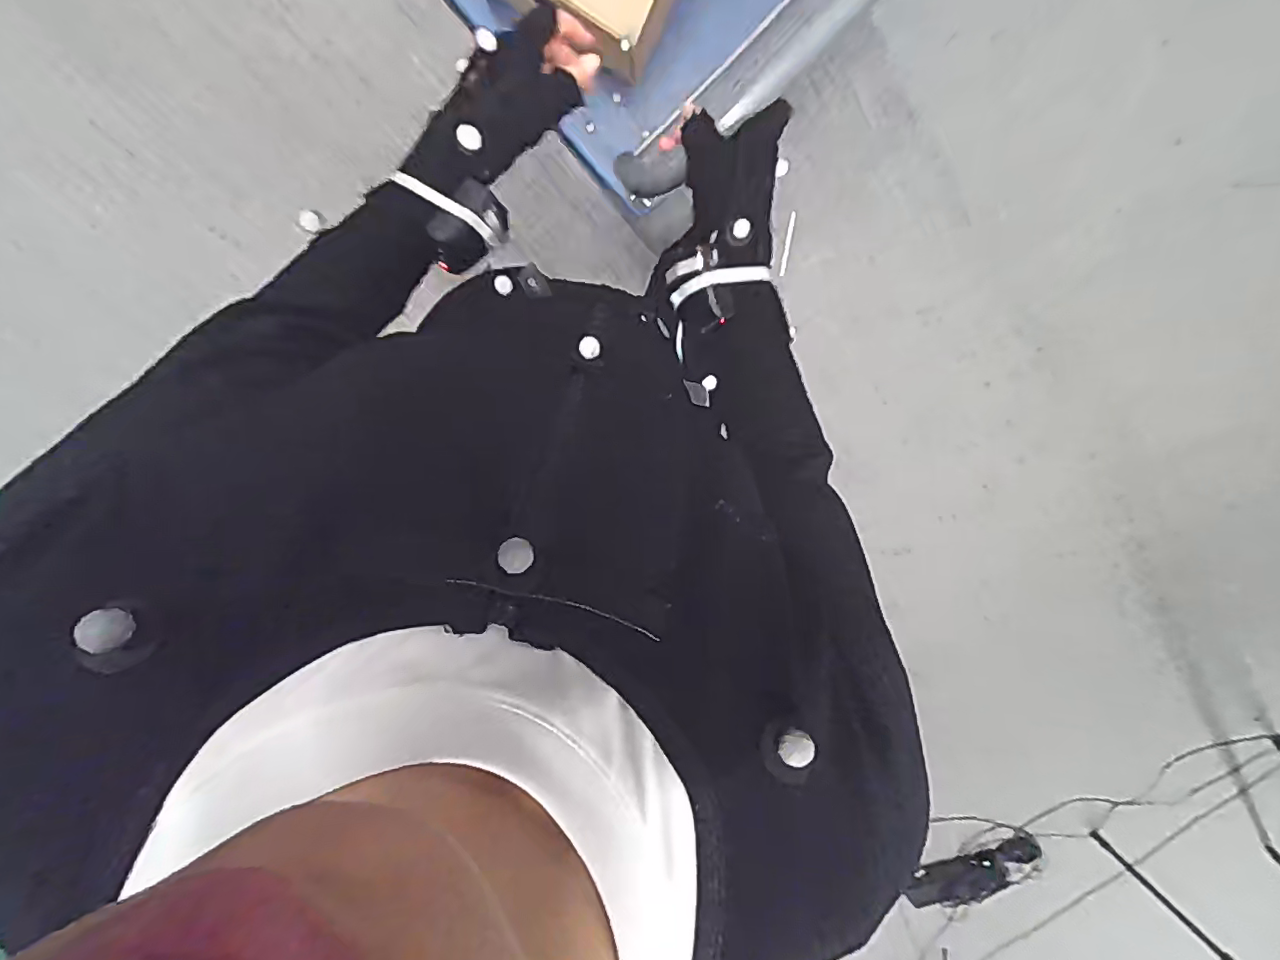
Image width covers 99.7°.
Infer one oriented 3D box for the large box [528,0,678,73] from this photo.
[{"bbox_3d":[-0.035,-0.876,0.736,0.320,0.320,0.408,25,117,-12],"label":"large box"}]
